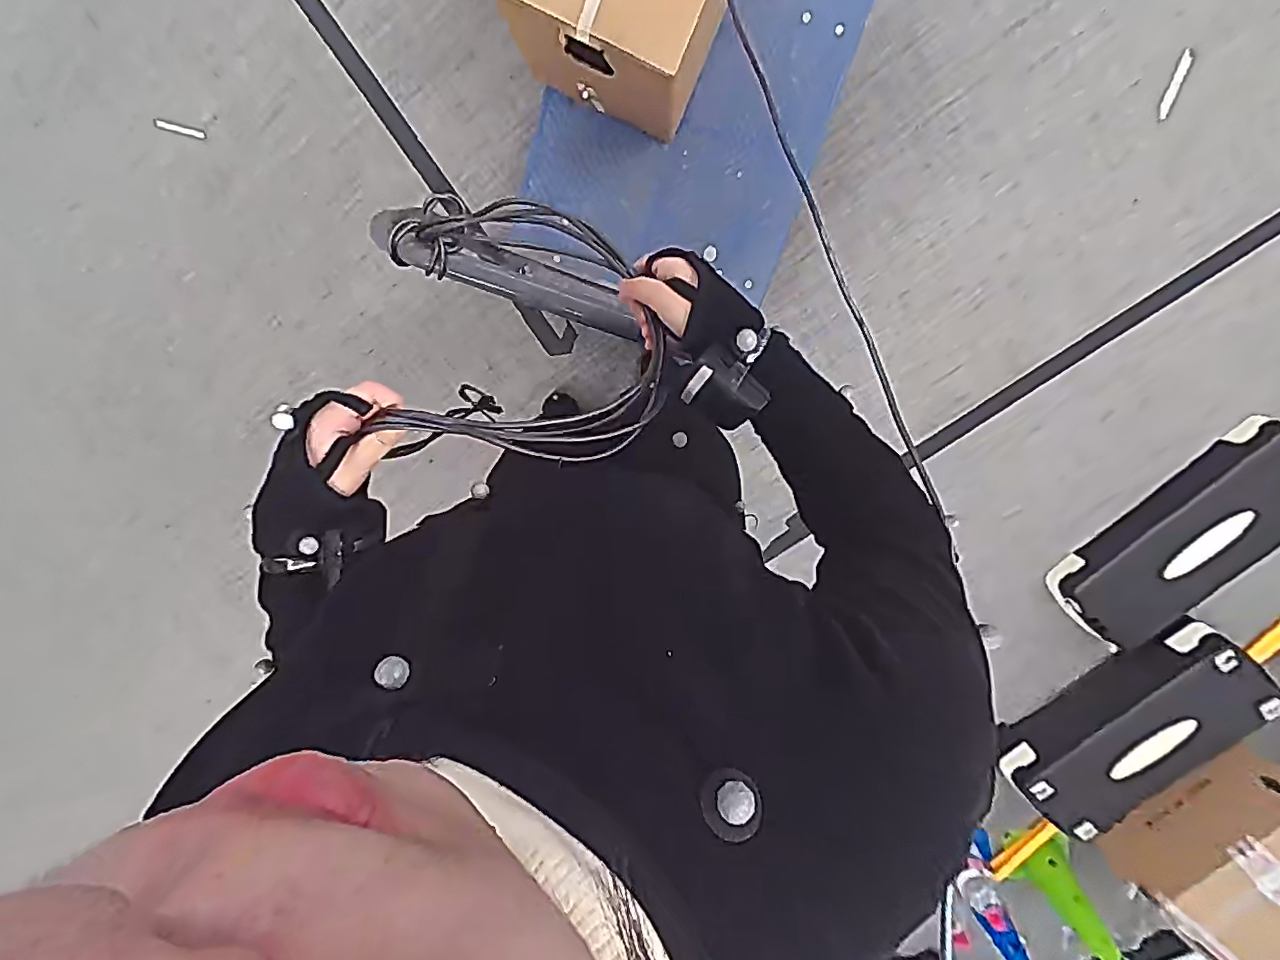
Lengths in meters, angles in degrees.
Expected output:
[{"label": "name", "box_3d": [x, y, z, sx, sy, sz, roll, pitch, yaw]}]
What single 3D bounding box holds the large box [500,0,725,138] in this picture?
[{"label": "large box", "box_3d": [-0.005, -0.897, 0.918, 0.320, 0.320, 0.408, 23, 104, -5]}]
